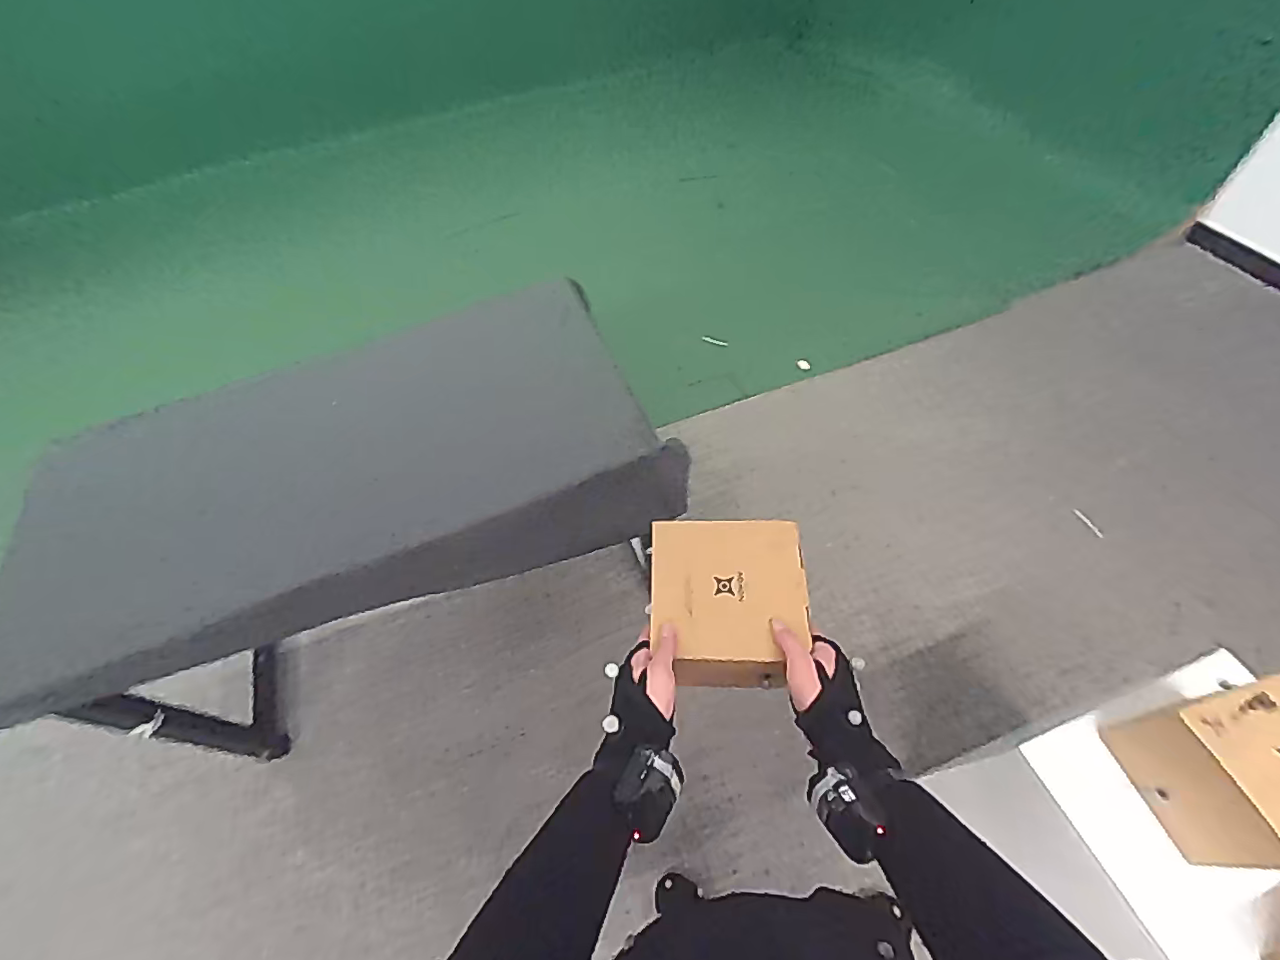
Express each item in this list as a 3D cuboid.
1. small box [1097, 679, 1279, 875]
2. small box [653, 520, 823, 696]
[{"bbox_3d":[0.781,0.389,0.713,0.168,0.176,0.179,-14,56,-8],"label":"small box"},{"bbox_3d":[0.105,0.160,0.661,0.179,0.176,0.168,-2,57,3],"label":"small box"}]
